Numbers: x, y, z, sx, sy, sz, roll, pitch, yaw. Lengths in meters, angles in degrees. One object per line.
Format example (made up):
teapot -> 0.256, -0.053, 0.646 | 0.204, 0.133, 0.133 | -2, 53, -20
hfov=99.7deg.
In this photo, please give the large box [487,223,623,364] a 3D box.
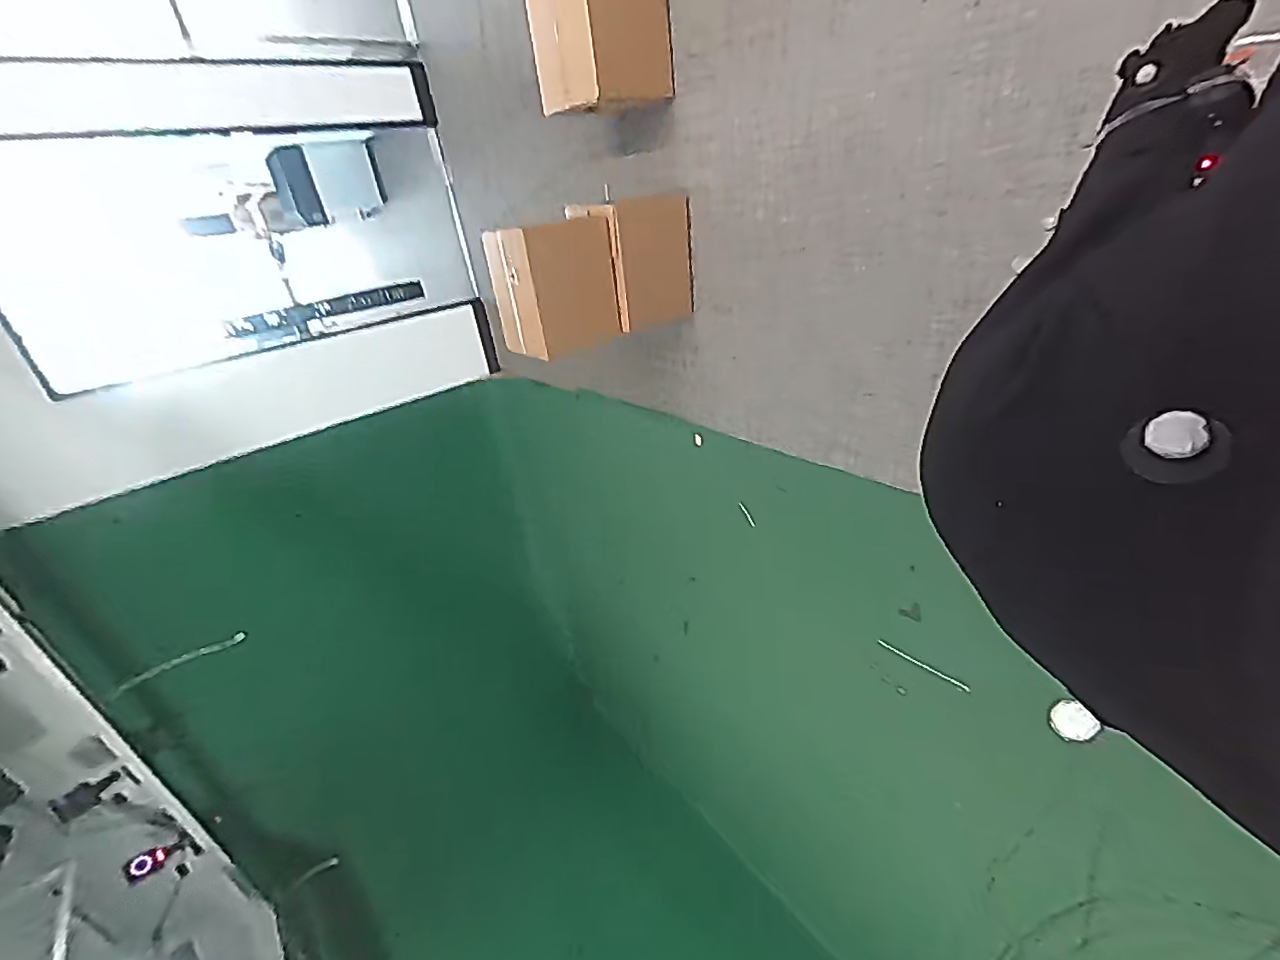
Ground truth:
large box -> -0.286, -0.650, 1.869 | 0.320, 0.320, 0.408 | 27, 132, 47
